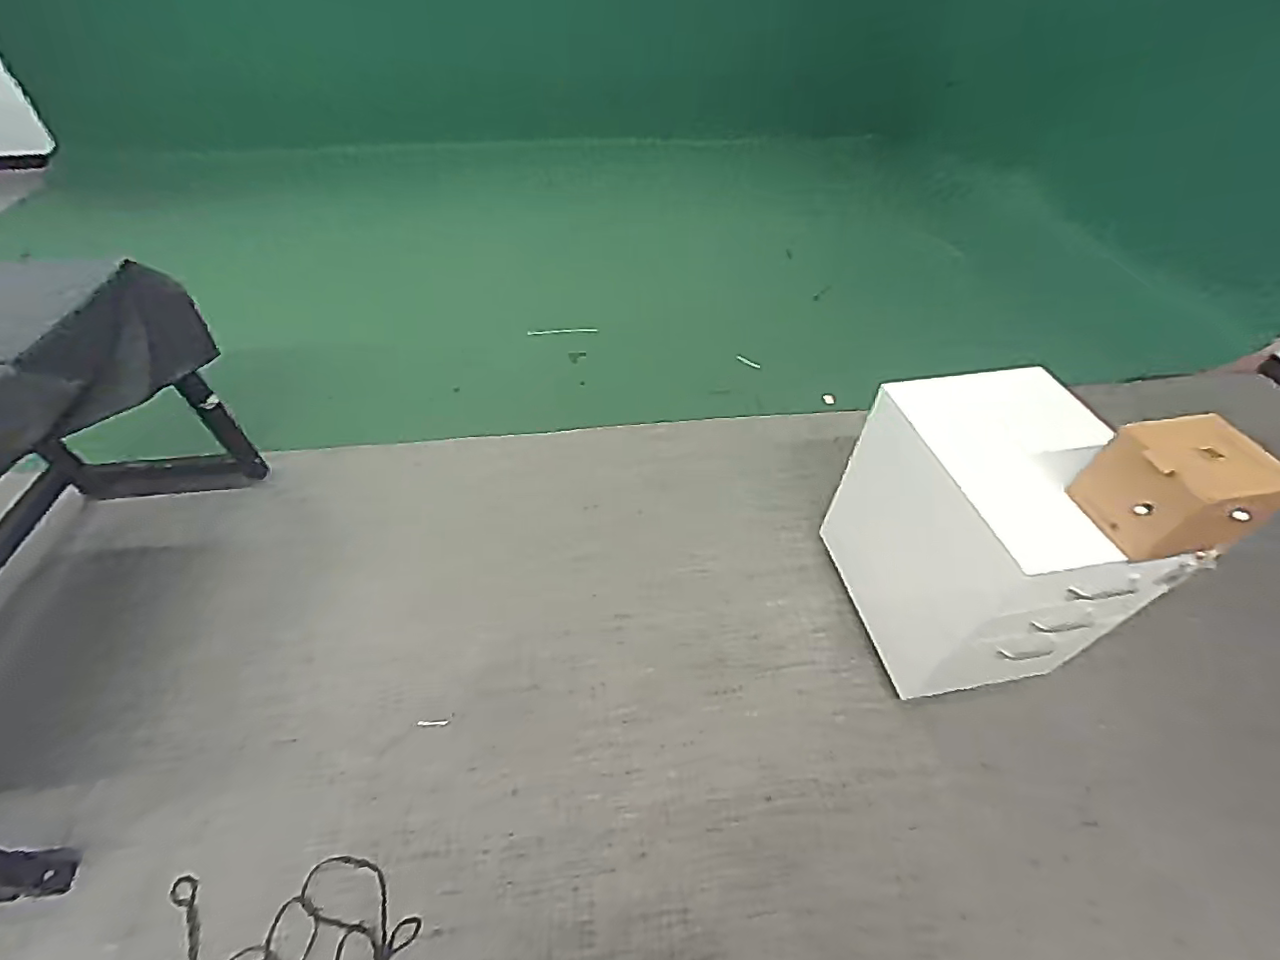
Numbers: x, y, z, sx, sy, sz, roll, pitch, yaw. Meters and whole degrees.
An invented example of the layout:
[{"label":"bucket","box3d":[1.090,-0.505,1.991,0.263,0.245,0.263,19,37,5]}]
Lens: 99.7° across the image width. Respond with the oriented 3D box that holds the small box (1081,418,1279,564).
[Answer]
[{"label":"small box","box3d":[0.883,0.021,0.887,0.179,0.176,0.168,-7,48,-7]}]
